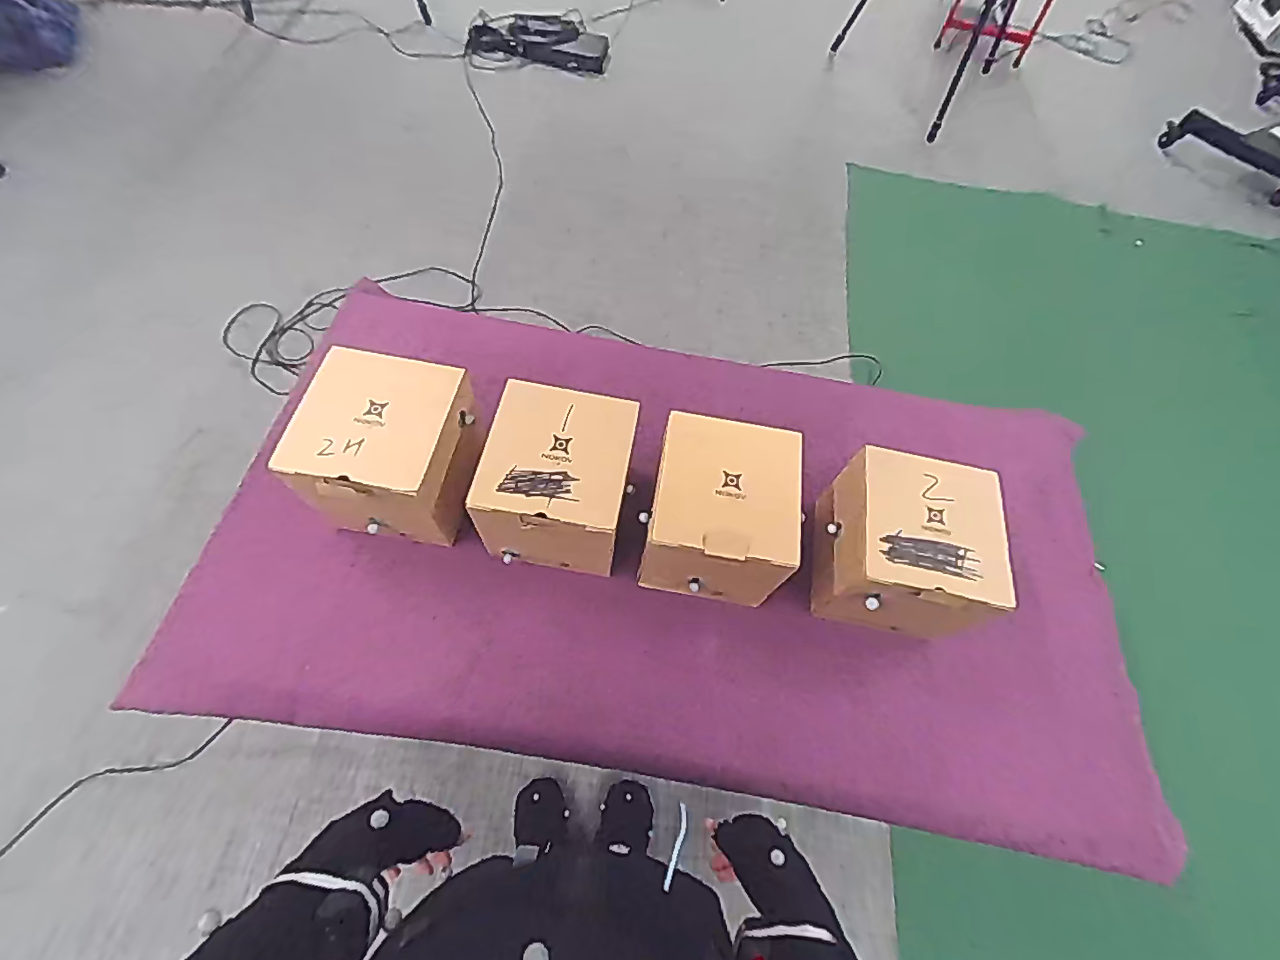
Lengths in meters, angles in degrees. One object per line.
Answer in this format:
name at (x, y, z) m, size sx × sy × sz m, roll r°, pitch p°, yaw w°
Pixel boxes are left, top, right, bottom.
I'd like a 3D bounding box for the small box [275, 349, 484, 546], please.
small box at (-0.311, -0.035, 0.695) m, size 0.168 × 0.176 × 0.179 m, roll 10°, pitch 63°, yaw 0°
